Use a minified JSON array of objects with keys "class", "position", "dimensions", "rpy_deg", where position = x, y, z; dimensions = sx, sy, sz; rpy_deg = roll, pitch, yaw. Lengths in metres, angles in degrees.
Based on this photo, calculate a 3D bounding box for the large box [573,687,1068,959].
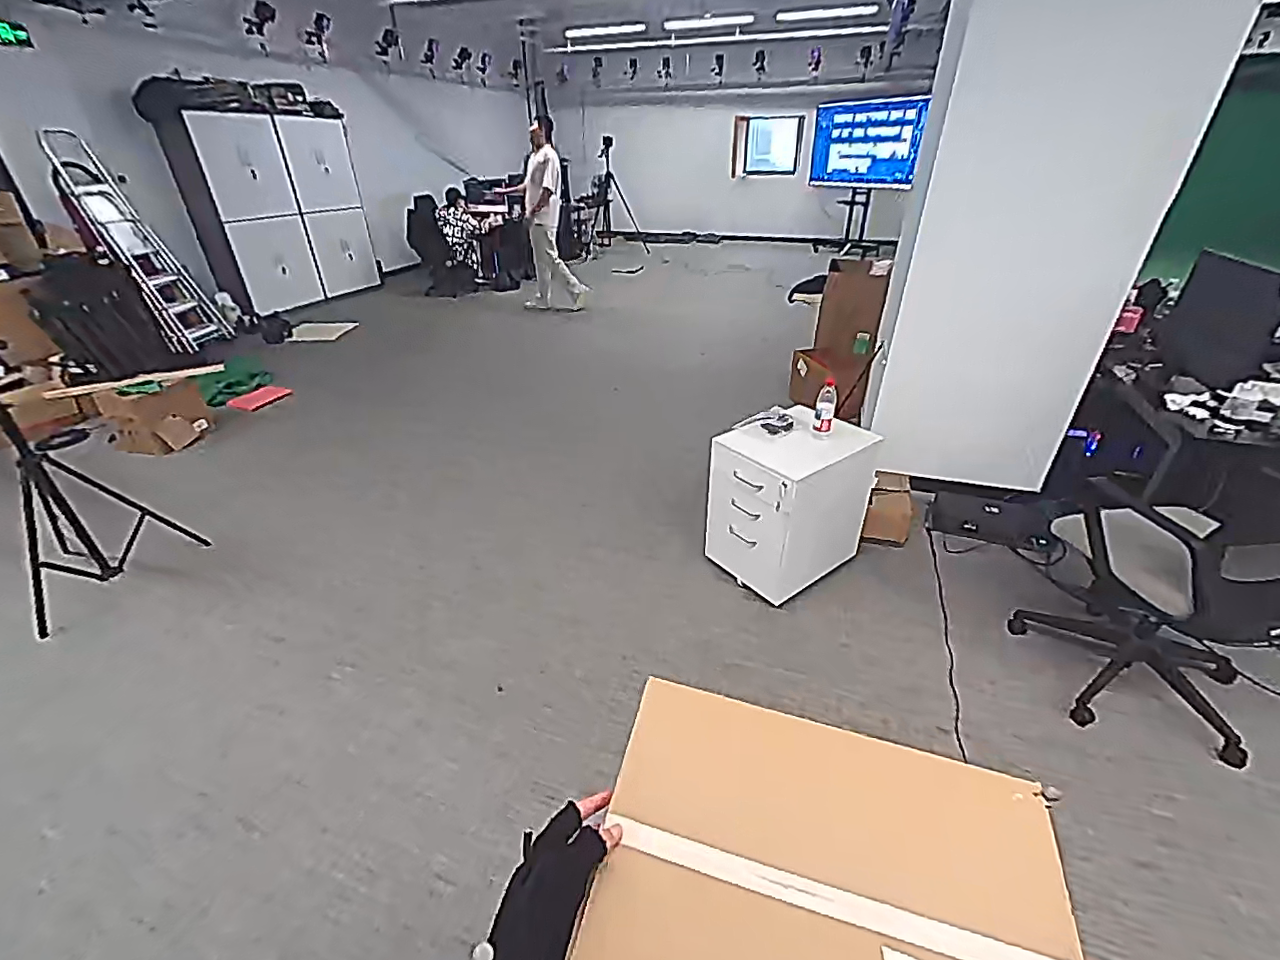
[{"class":"large box","position":[0.159,0.482,0.578],"dimensions":[0.408,0.320,0.320],"rpy_deg":[12,44,12]}]
